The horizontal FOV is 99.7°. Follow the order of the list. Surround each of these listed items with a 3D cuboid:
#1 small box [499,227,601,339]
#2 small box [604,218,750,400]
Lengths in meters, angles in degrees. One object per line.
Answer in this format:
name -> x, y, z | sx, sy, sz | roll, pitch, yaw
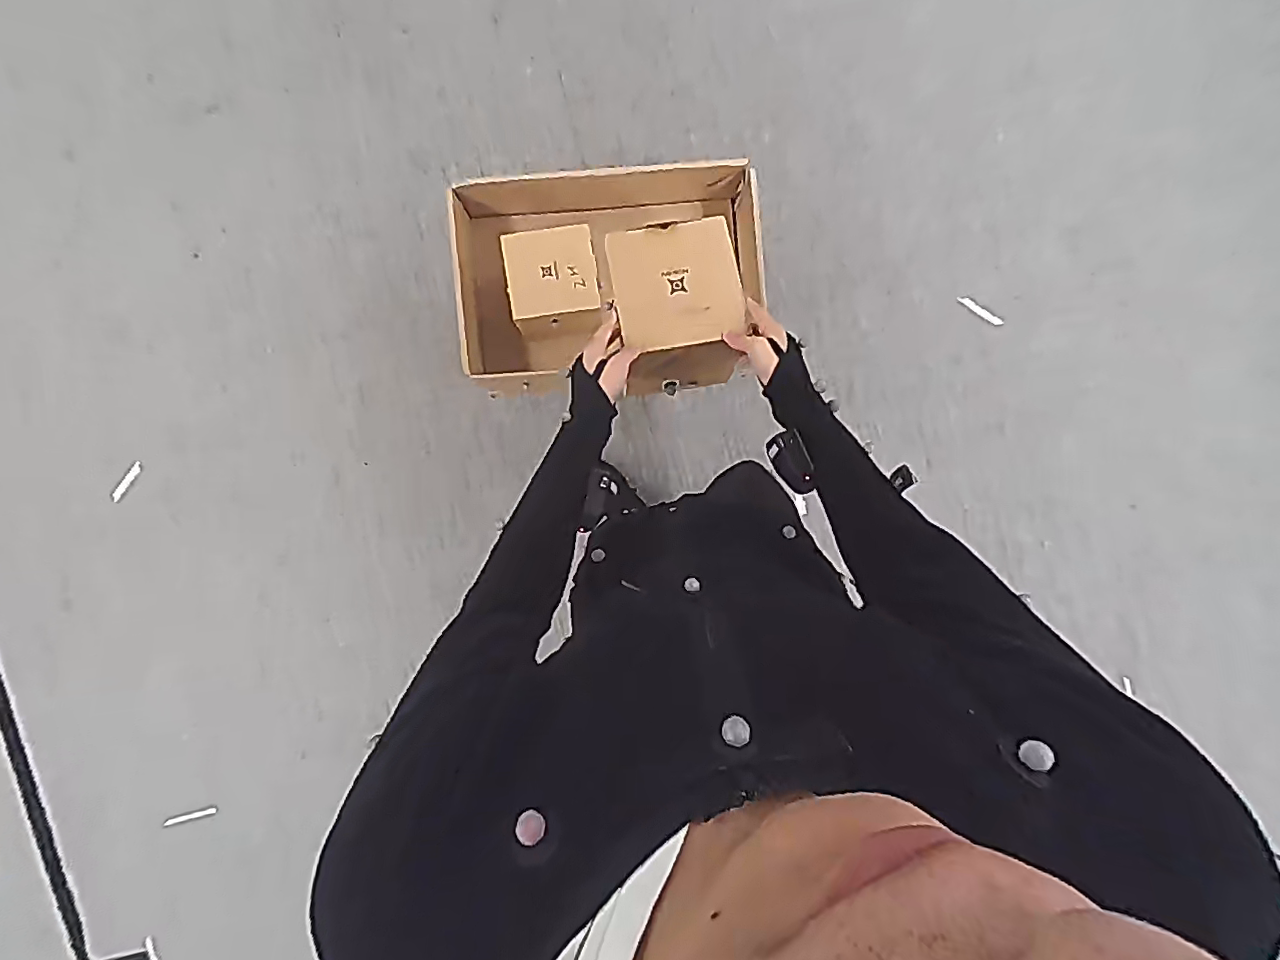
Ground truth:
small box -> -0.179, -0.399, 1.123 | 0.179, 0.176, 0.168 | -9, 92, -3
small box -> 0.042, -0.234, 0.770 | 0.168, 0.176, 0.179 | -10, 79, -4
